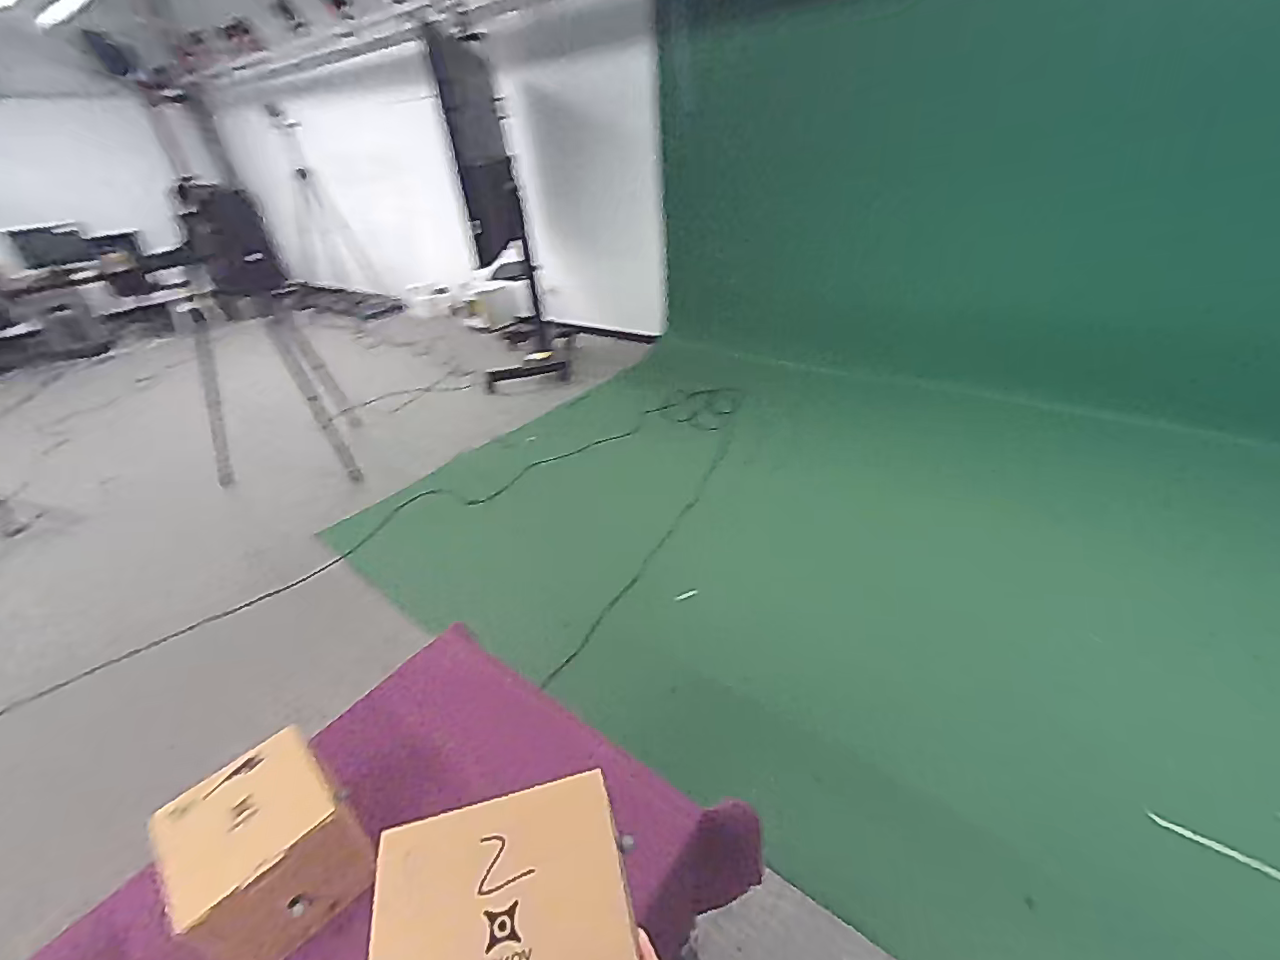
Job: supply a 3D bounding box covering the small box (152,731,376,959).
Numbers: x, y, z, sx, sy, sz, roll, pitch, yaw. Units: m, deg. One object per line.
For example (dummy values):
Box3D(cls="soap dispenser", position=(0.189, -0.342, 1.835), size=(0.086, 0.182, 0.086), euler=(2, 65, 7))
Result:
Box3D(cls="small box", position=(-0.473, 0.478, 0.697), size=(0.179, 0.176, 0.168), euler=(25, 43, 38))
